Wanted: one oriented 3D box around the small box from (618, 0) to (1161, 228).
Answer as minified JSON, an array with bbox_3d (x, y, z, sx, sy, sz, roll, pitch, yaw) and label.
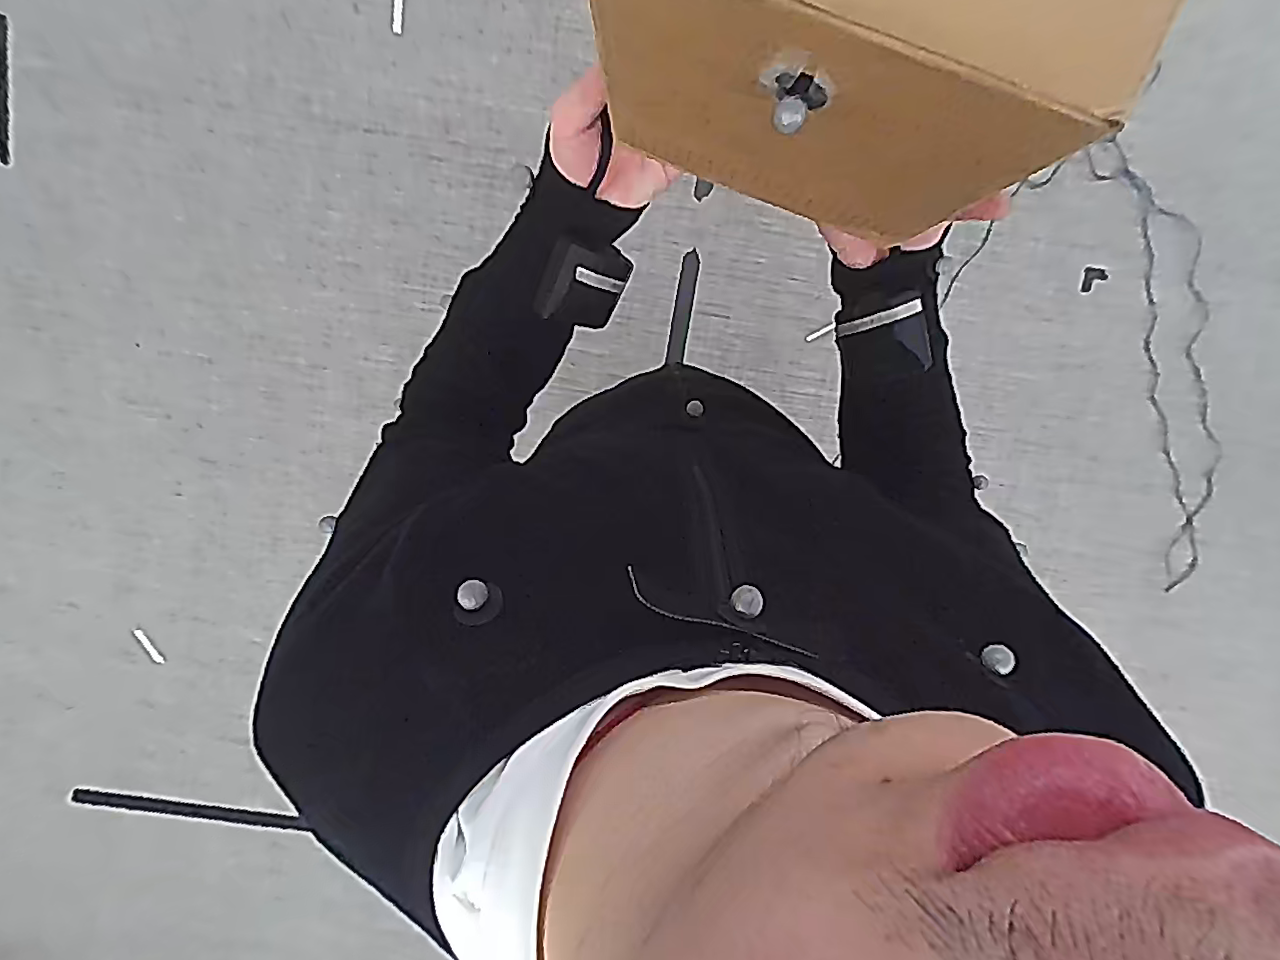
[{"bbox_3d":[0.093,-0.231,0.229,0.179,0.176,0.168,20,102,-4],"label":"small box"}]
